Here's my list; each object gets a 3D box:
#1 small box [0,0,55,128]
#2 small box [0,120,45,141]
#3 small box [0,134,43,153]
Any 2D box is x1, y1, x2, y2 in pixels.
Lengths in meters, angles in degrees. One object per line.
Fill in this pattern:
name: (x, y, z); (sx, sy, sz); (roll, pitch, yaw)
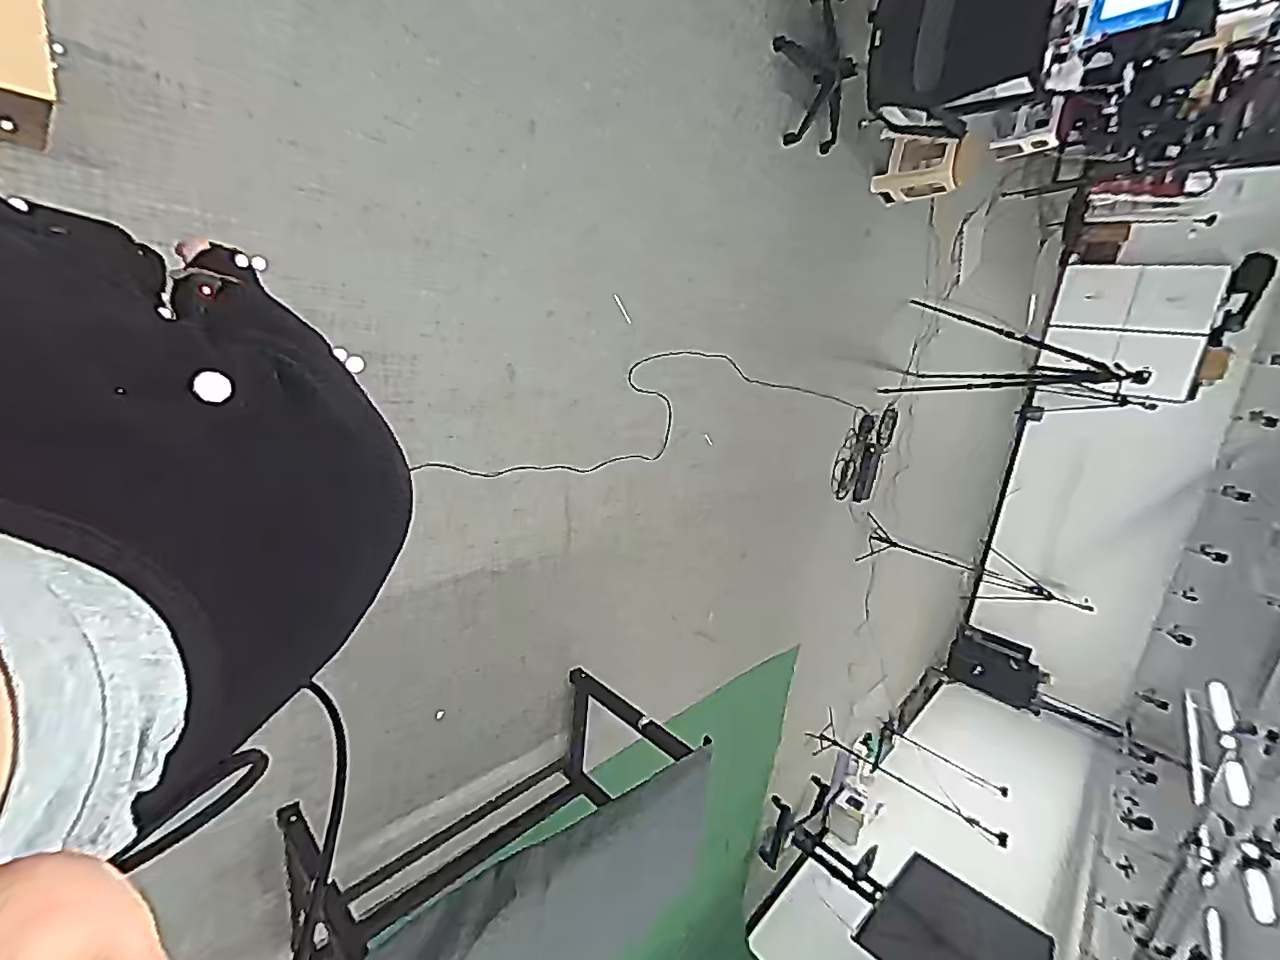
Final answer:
small box: (-0.835, -0.557, 0.647); (0.168, 0.176, 0.179); (-8, 112, -47)
small box: (-0.957, -0.600, 0.749); (0.168, 0.176, 0.179); (-10, 110, -47)
small box: (-1.075, -0.639, 0.852); (0.168, 0.176, 0.179); (-11, 113, -47)
